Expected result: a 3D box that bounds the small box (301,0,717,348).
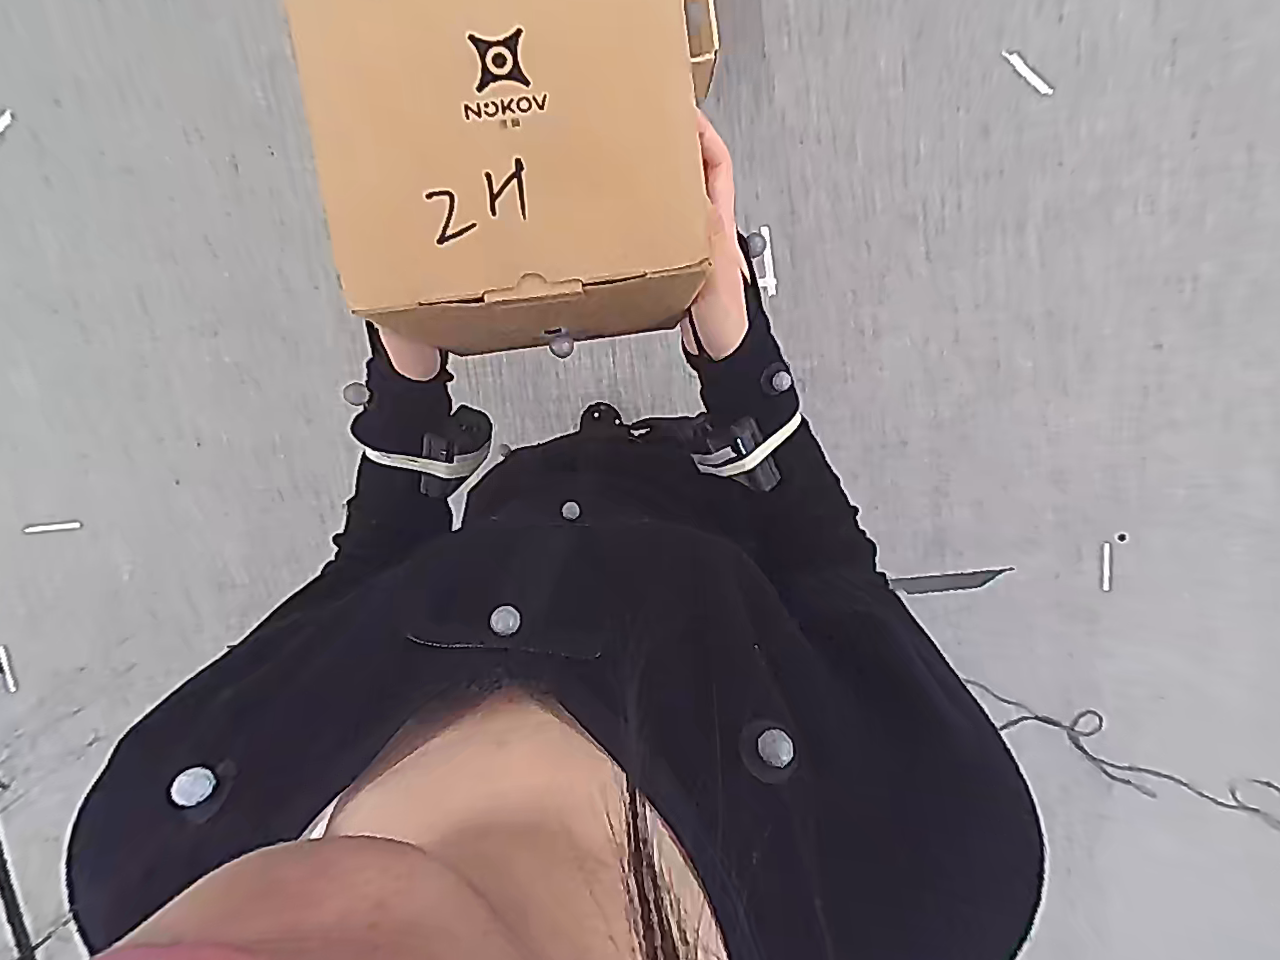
[{"bbox_3d":[-0.060,-0.182,0.310,0.168,0.176,0.179,-8,97,-1],"label":"small box"}]
